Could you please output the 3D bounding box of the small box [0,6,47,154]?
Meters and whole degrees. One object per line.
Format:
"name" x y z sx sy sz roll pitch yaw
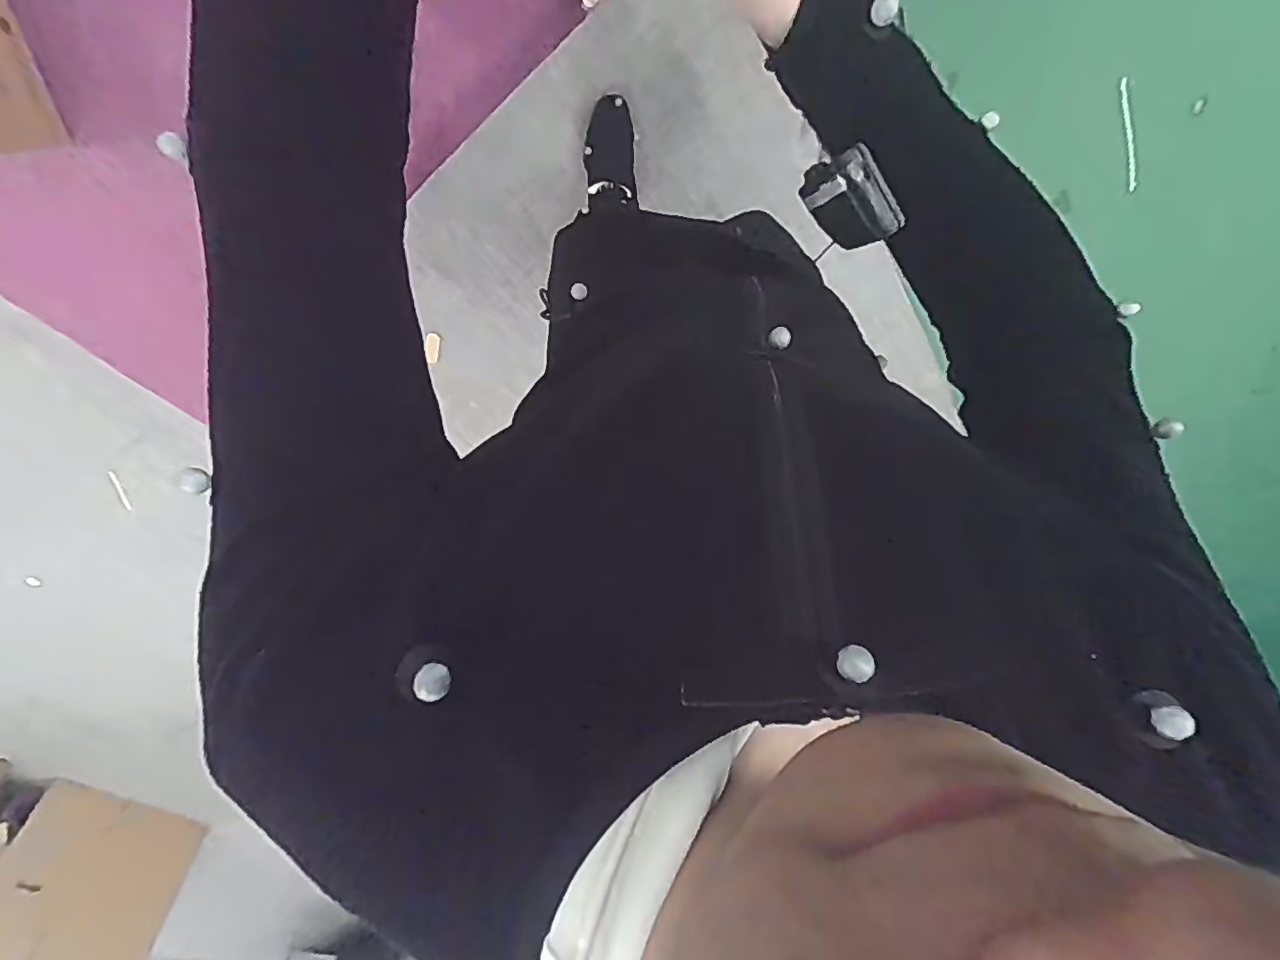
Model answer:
"small box" -0.688 -0.383 0.465 0.179 0.176 0.168 -1 125 -10
